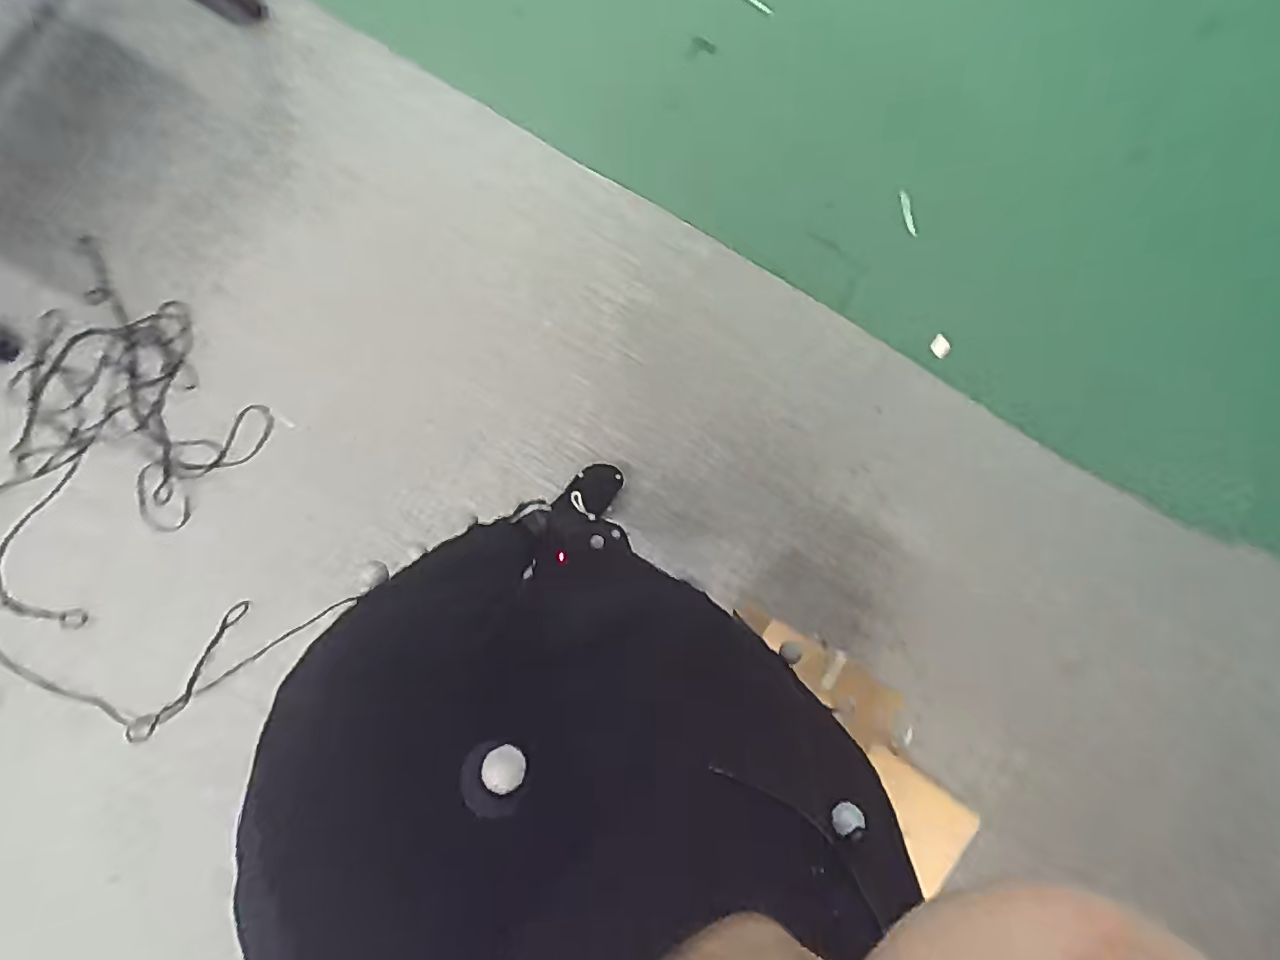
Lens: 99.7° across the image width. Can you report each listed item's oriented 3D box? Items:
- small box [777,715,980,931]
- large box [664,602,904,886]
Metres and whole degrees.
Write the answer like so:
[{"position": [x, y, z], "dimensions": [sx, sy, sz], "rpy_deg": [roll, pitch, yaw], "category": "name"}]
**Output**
[{"position": [0.332, 0.479, 0.789], "dimensions": [0.179, 0.176, 0.168], "rpy_deg": [37, 86, 1], "category": "small box"}, {"position": [0.288, 0.538, 1.192], "dimensions": [0.320, 0.320, 0.408], "rpy_deg": [31, 87, 3], "category": "large box"}]
